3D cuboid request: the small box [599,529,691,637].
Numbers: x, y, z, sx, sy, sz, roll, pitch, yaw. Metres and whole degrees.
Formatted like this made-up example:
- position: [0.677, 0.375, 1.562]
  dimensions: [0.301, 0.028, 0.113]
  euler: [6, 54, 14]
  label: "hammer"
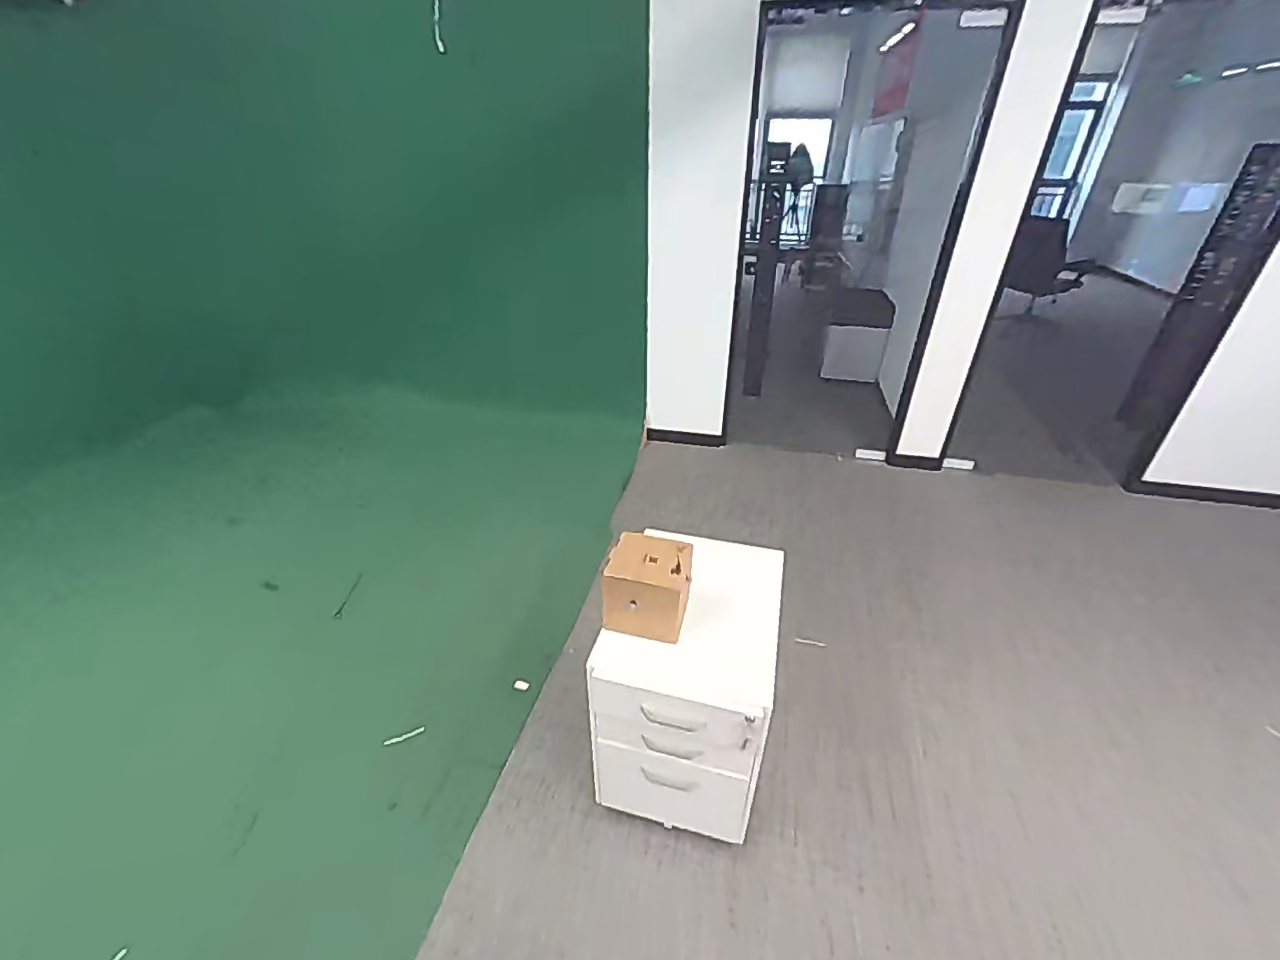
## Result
- position: [0.014, 0.238, 1.246]
  dimensions: [0.179, 0.176, 0.168]
  euler: [8, 33, 12]
  label: "small box"
